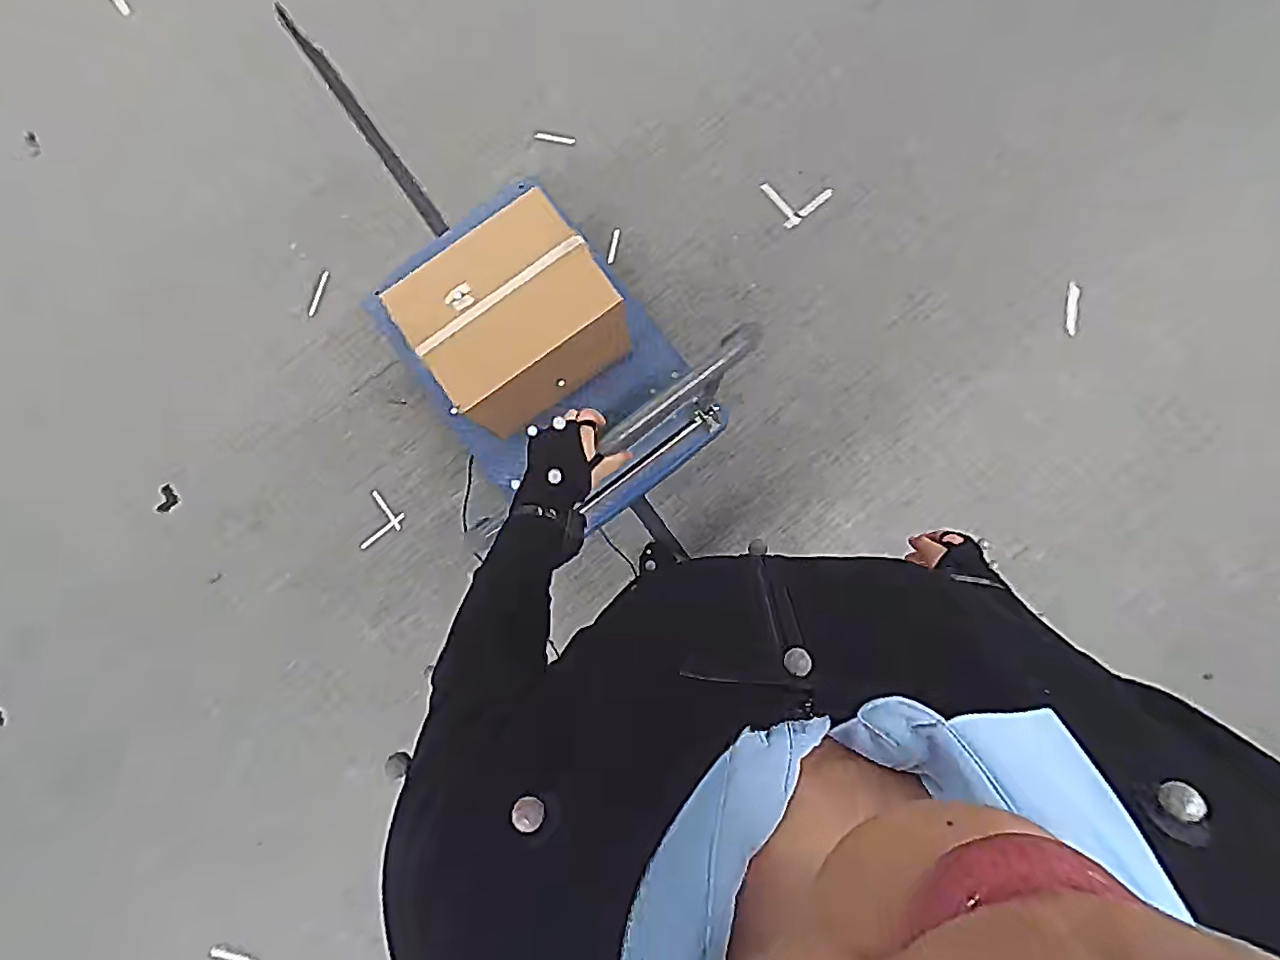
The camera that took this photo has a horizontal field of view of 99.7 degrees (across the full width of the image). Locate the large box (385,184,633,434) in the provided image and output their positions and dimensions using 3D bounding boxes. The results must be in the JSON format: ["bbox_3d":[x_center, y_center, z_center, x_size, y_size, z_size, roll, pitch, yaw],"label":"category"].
[{"bbox_3d":[-0.269,-0.361,1.240,0.408,0.320,0.320,-36,83,0],"label":"large box"}]
